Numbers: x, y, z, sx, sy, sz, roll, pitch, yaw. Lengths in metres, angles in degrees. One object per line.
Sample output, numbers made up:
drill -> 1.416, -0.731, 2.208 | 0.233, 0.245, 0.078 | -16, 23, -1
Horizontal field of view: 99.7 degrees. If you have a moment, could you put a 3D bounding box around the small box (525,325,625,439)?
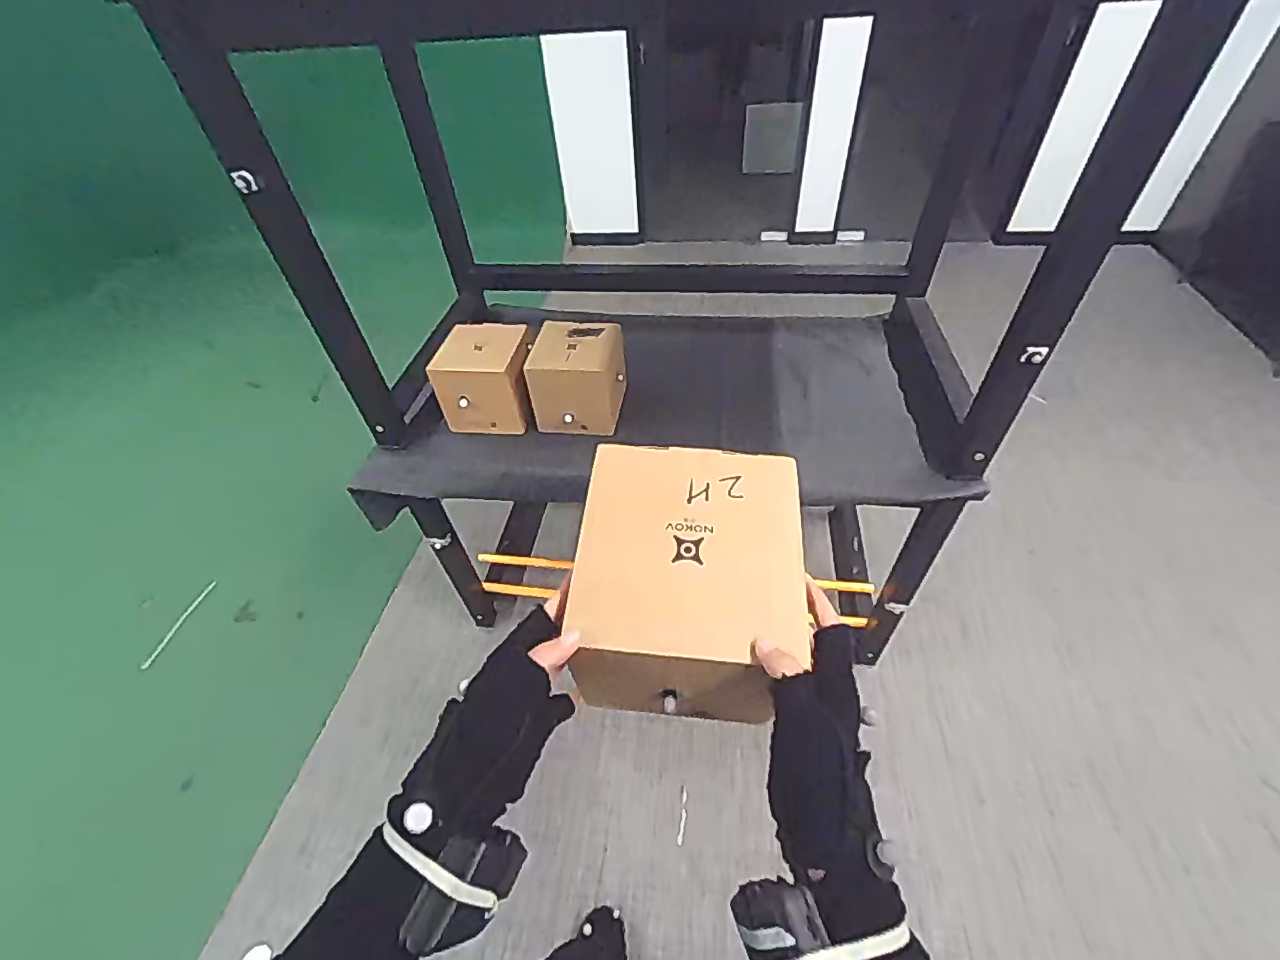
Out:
small box -> -0.127, -0.210, 1.147 | 0.168, 0.176, 0.179 | 3, 47, 9

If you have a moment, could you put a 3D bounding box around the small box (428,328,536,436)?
small box -> -0.322, -0.210, 1.166 | 0.168, 0.176, 0.179 | 3, 46, 7
